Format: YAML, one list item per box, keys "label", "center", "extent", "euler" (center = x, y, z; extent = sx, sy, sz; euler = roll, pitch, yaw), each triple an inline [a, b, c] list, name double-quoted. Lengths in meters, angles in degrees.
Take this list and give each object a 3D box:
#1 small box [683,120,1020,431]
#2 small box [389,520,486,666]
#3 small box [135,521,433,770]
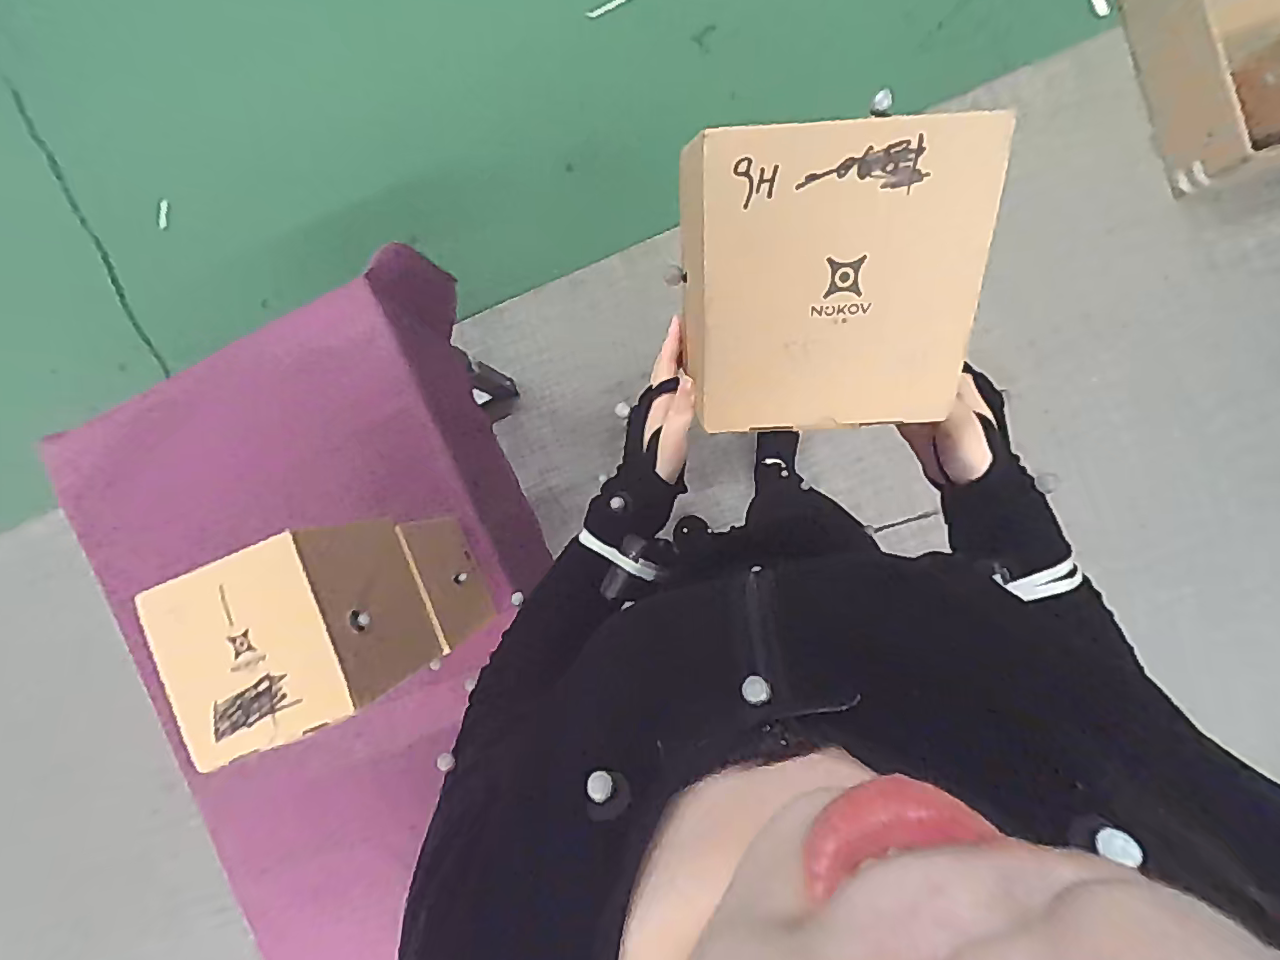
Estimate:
- label: "small box"
  center: [0.122, -0.150, 0.395]
  extent: [0.168, 0.176, 0.179]
  euler: [-3, 119, 0]
- label: "small box"
  center: [-0.327, 0.161, 0.726]
  extent: [0.179, 0.176, 0.168]
  euler: [-23, 88, 4]
- label: "small box"
  center: [-0.347, 0.154, 0.563]
  extent: [0.168, 0.176, 0.179]
  euler: [-22, 88, 4]
